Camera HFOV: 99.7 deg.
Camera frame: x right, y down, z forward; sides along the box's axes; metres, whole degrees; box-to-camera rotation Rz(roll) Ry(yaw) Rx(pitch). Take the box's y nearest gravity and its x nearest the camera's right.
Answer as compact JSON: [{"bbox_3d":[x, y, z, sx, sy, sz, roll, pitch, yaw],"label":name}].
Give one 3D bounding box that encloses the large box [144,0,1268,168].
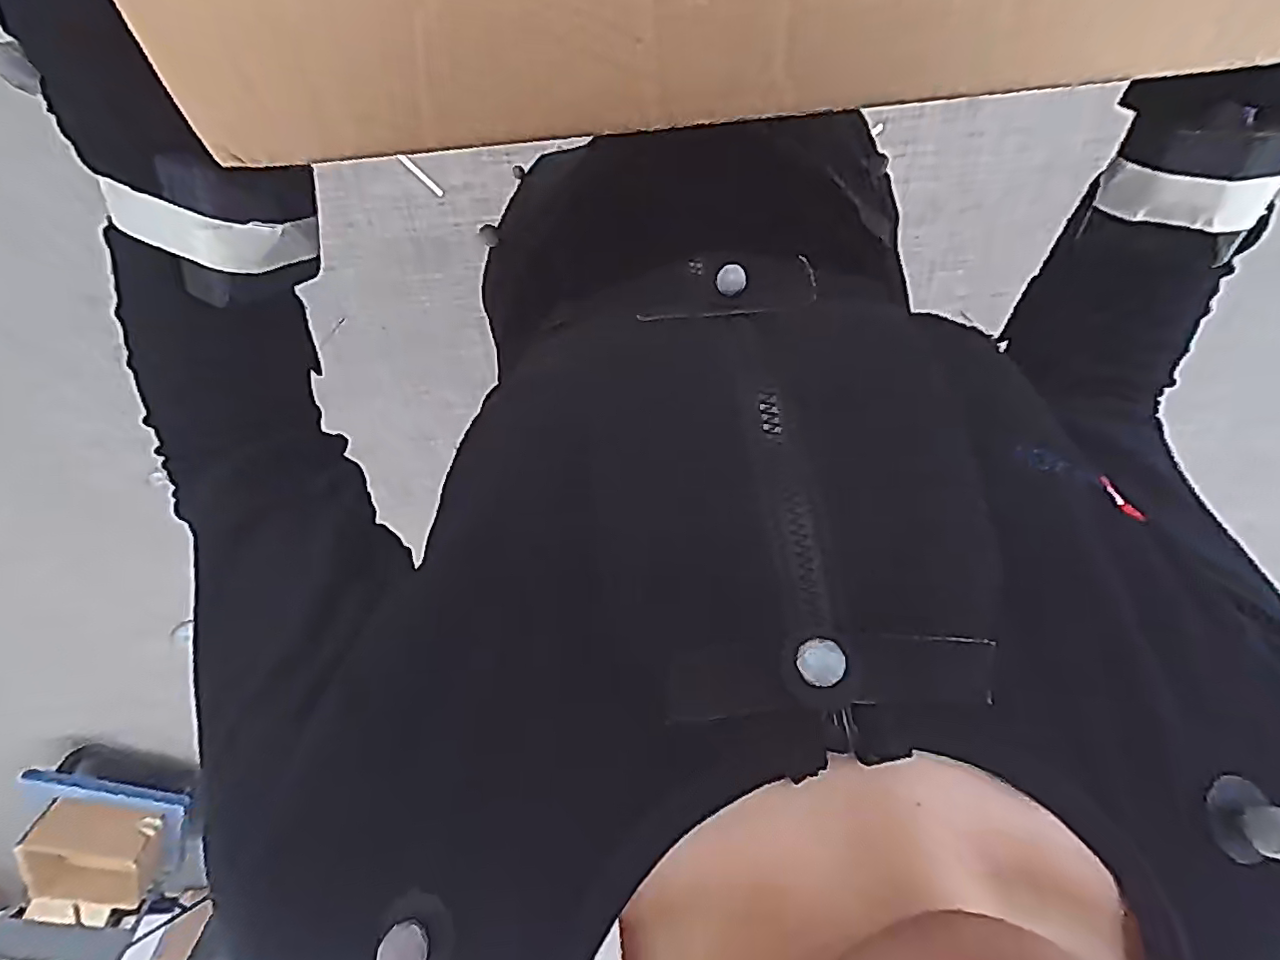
[{"bbox_3d":[0.017,-0.357,0.192,0.408,0.320,0.320,-6,139,0],"label":"large box"}]
